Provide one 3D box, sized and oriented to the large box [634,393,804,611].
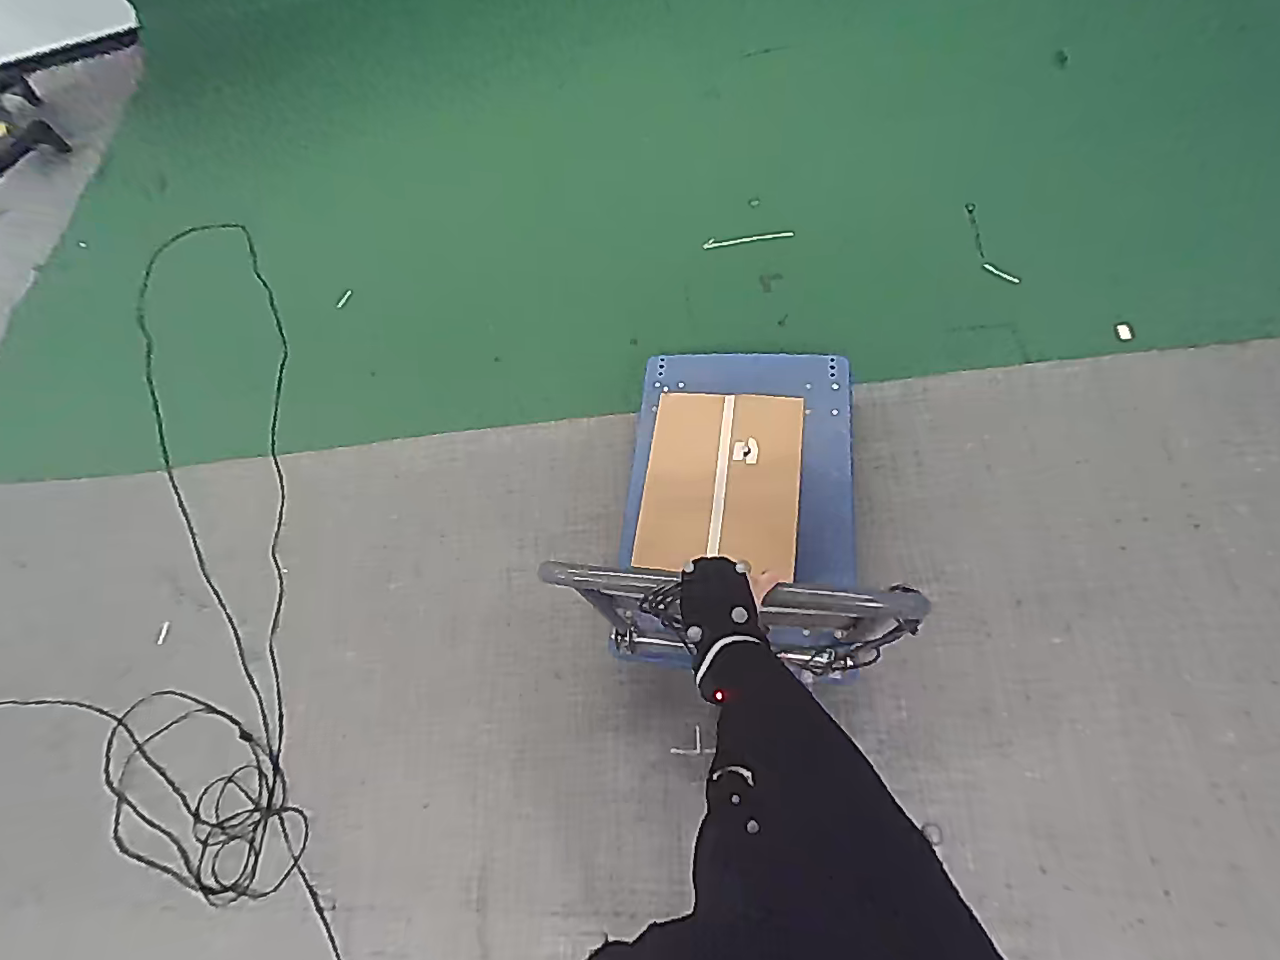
[{"bbox_3d":[0.193,0.058,1.230,0.320,0.320,0.408,5,68,13],"label":"large box"}]
